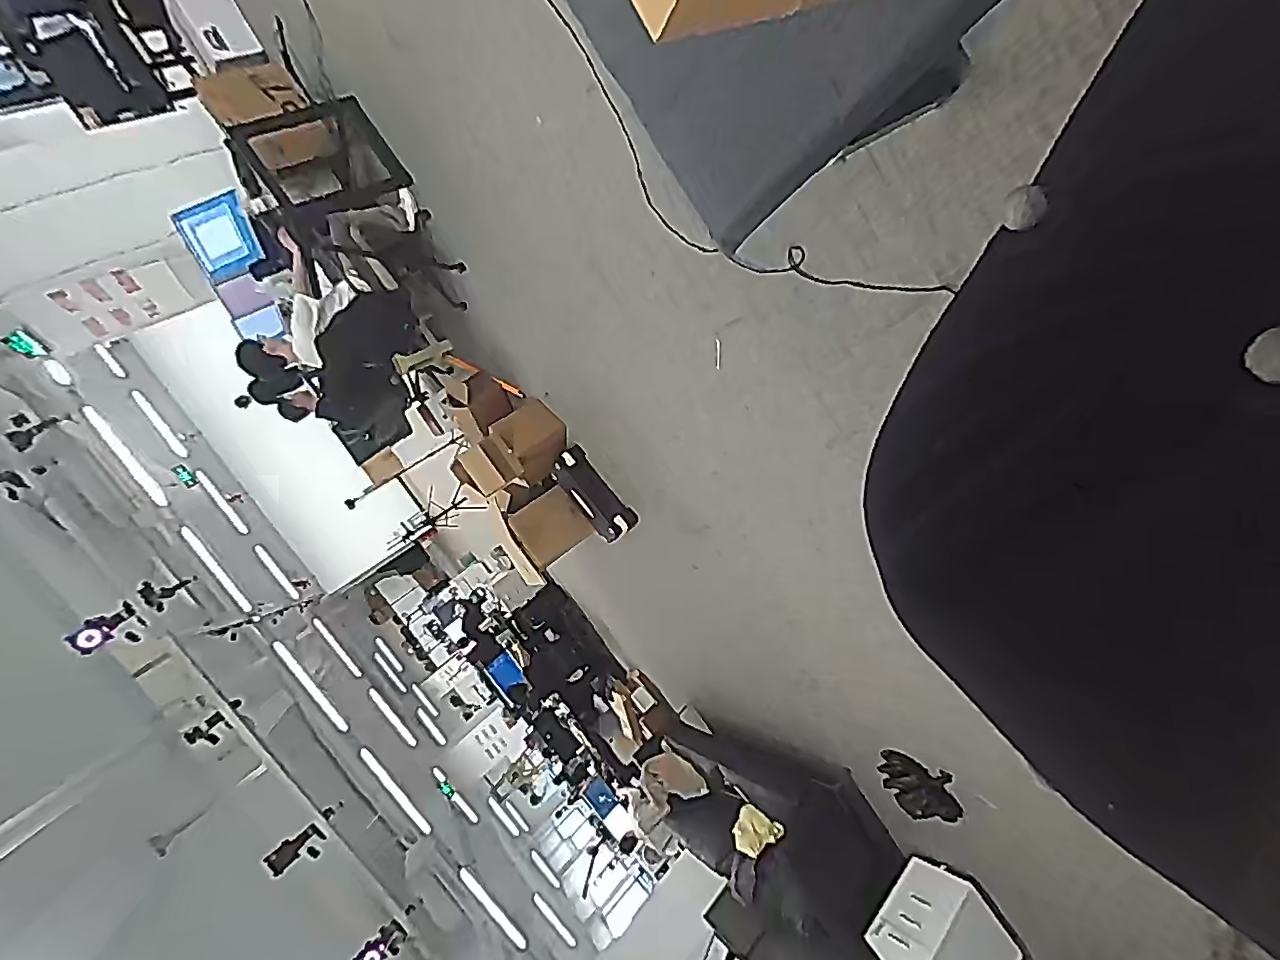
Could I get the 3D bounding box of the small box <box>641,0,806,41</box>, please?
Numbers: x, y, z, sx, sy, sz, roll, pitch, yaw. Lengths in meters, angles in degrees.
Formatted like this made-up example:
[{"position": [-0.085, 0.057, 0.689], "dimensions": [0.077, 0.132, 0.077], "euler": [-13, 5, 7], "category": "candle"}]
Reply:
[{"position": [0.074, -0.447, 0.352], "dimensions": [0.168, 0.176, 0.179], "euler": [59, 154, -6], "category": "small box"}]
